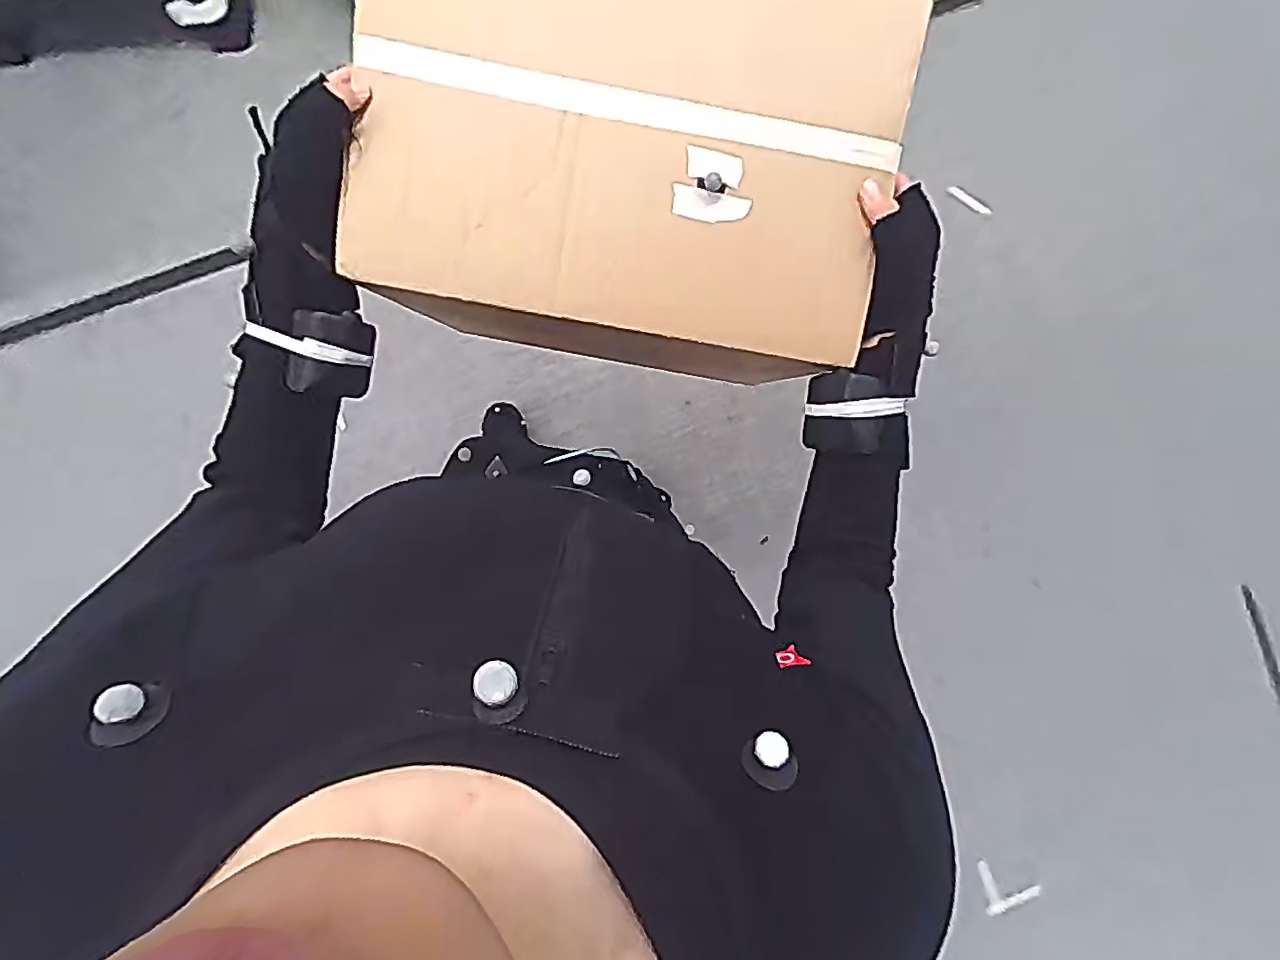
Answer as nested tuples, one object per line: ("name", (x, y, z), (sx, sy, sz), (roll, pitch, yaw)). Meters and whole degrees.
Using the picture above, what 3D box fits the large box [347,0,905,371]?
("large box", (-0.020, -0.301, 0.556), (0.408, 0.320, 0.320), (8, 98, -4))
